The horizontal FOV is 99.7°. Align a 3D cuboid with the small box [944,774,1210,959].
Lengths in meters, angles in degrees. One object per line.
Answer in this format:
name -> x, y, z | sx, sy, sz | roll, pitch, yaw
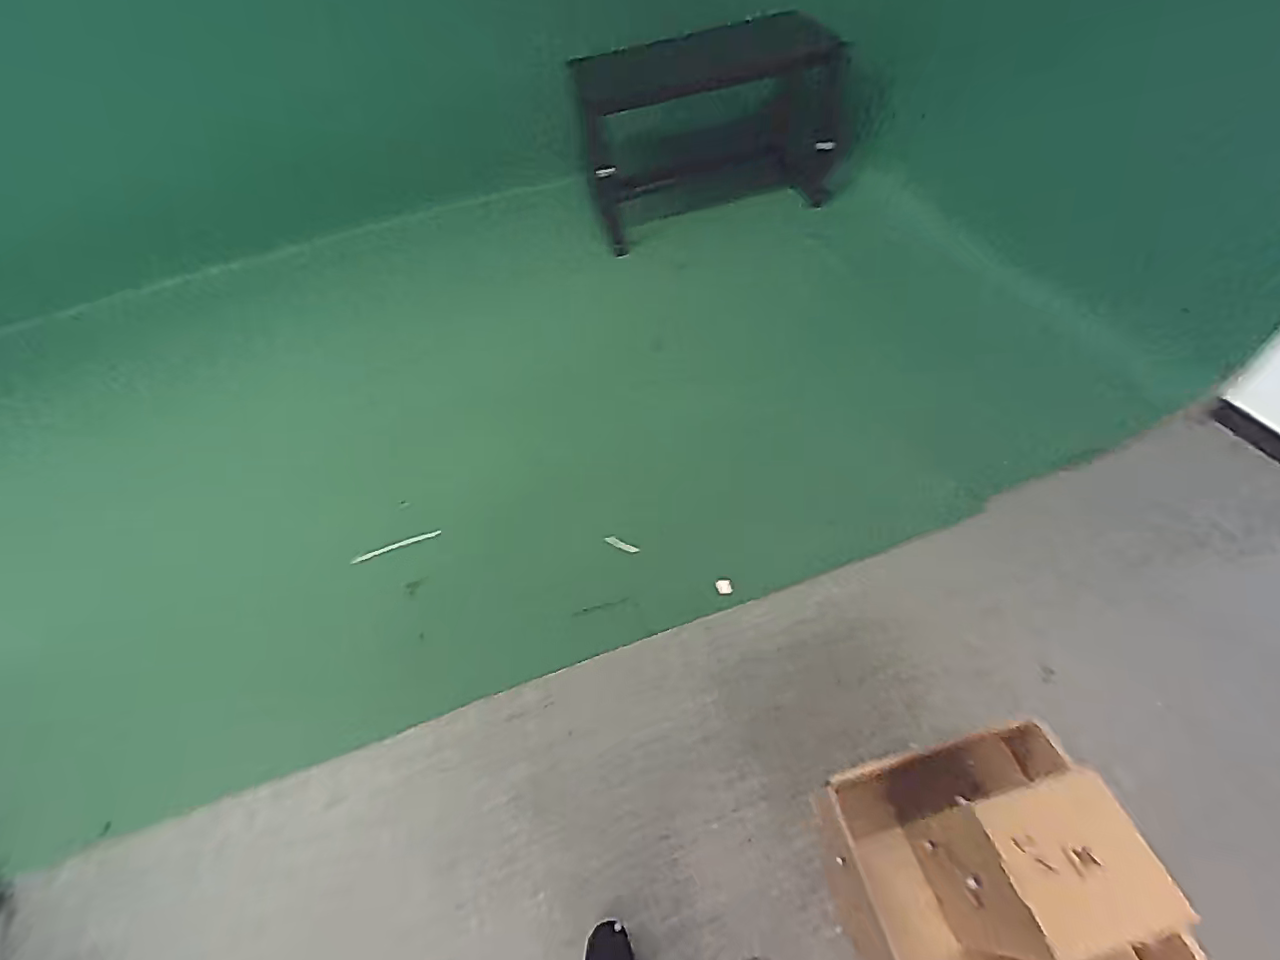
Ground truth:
small box -> 0.541, 0.506, 0.705 | 0.179, 0.176, 0.168 | -15, 52, -3
